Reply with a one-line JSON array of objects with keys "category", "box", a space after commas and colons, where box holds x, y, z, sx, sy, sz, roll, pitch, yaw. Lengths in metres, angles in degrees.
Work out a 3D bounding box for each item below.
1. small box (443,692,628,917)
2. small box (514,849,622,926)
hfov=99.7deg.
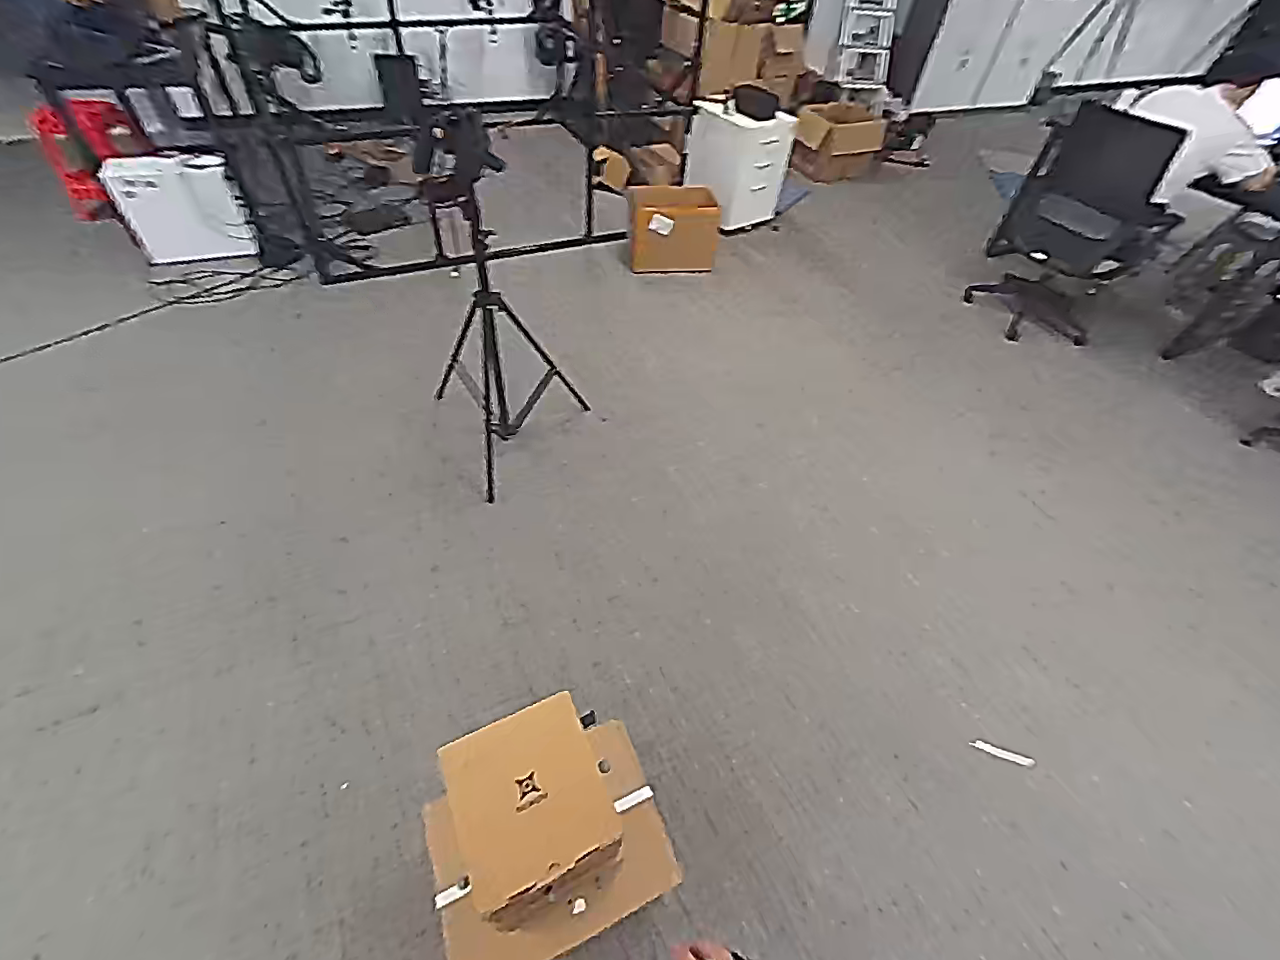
[{"category": "small box", "box": [-0.130, 0.405, 0.675, 0.168, 0.176, 0.179, -19, 55, -21]}, {"category": "small box", "box": [-0.145, 0.622, 0.920, 0.179, 0.176, 0.168, -19, 55, -22]}]
